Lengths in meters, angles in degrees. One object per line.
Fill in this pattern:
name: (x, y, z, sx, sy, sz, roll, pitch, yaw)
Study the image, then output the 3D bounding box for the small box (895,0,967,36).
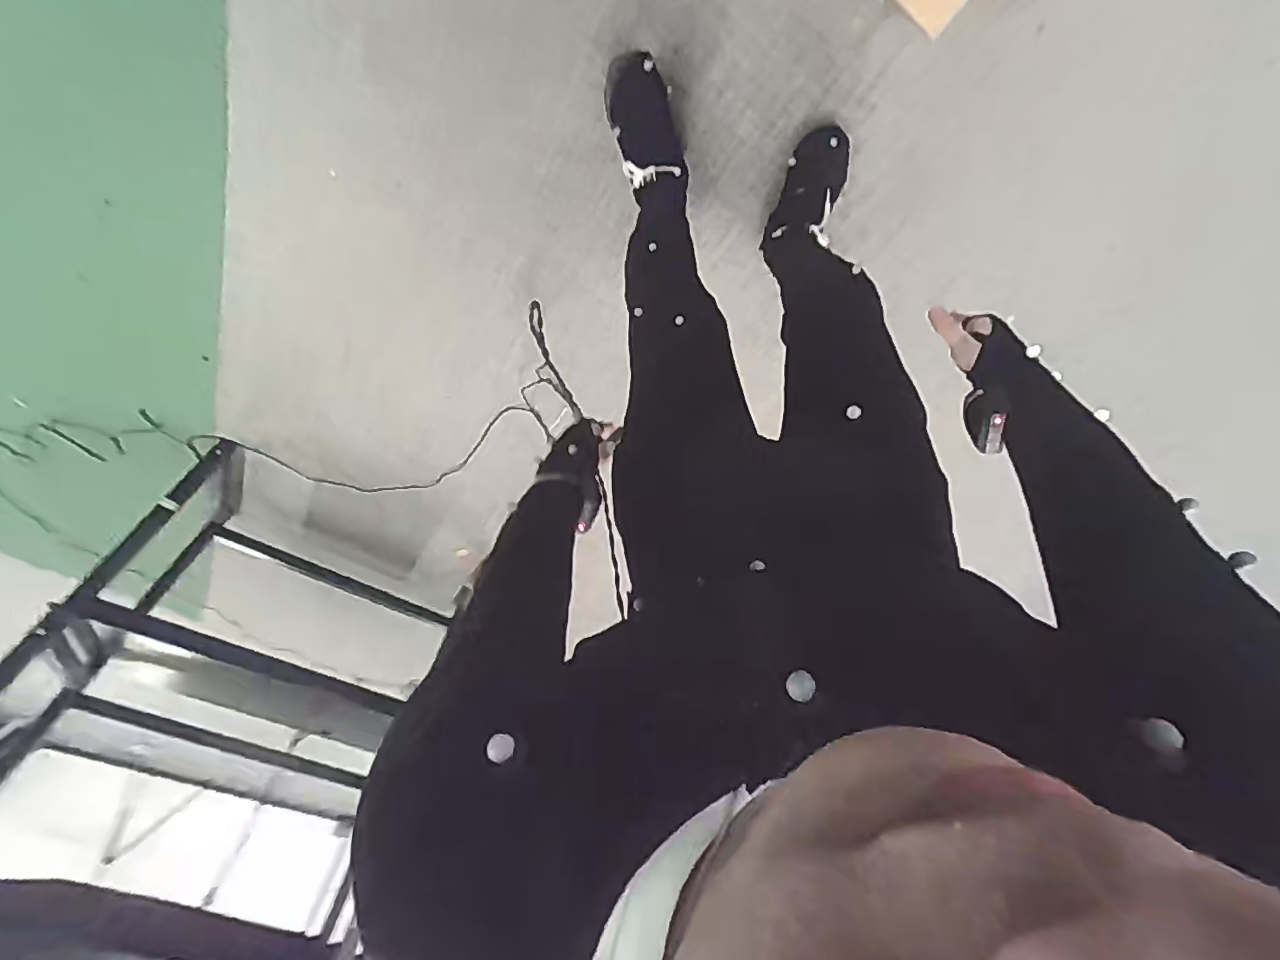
small box: (0.442, -0.813, 0.794, 0.168, 0.176, 0.179, 29, 134, -19)
